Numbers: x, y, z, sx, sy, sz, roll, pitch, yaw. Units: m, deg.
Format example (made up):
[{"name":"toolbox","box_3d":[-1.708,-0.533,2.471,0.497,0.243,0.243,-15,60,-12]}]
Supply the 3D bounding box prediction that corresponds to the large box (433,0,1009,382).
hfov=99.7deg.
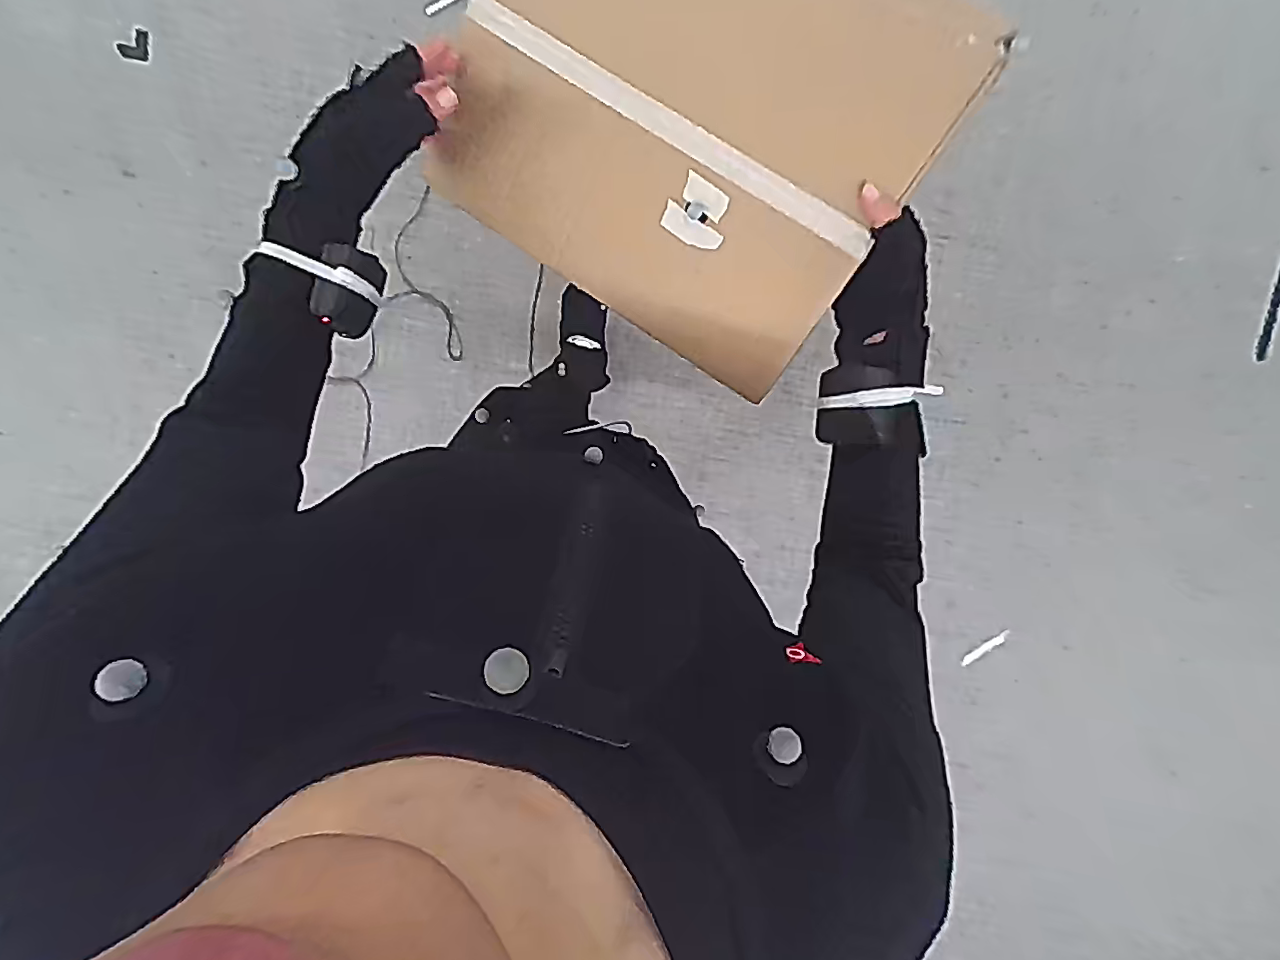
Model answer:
[{"name":"large box","box_3d":[0.068,-0.366,0.587,0.408,0.320,0.320,34,120,4]}]
